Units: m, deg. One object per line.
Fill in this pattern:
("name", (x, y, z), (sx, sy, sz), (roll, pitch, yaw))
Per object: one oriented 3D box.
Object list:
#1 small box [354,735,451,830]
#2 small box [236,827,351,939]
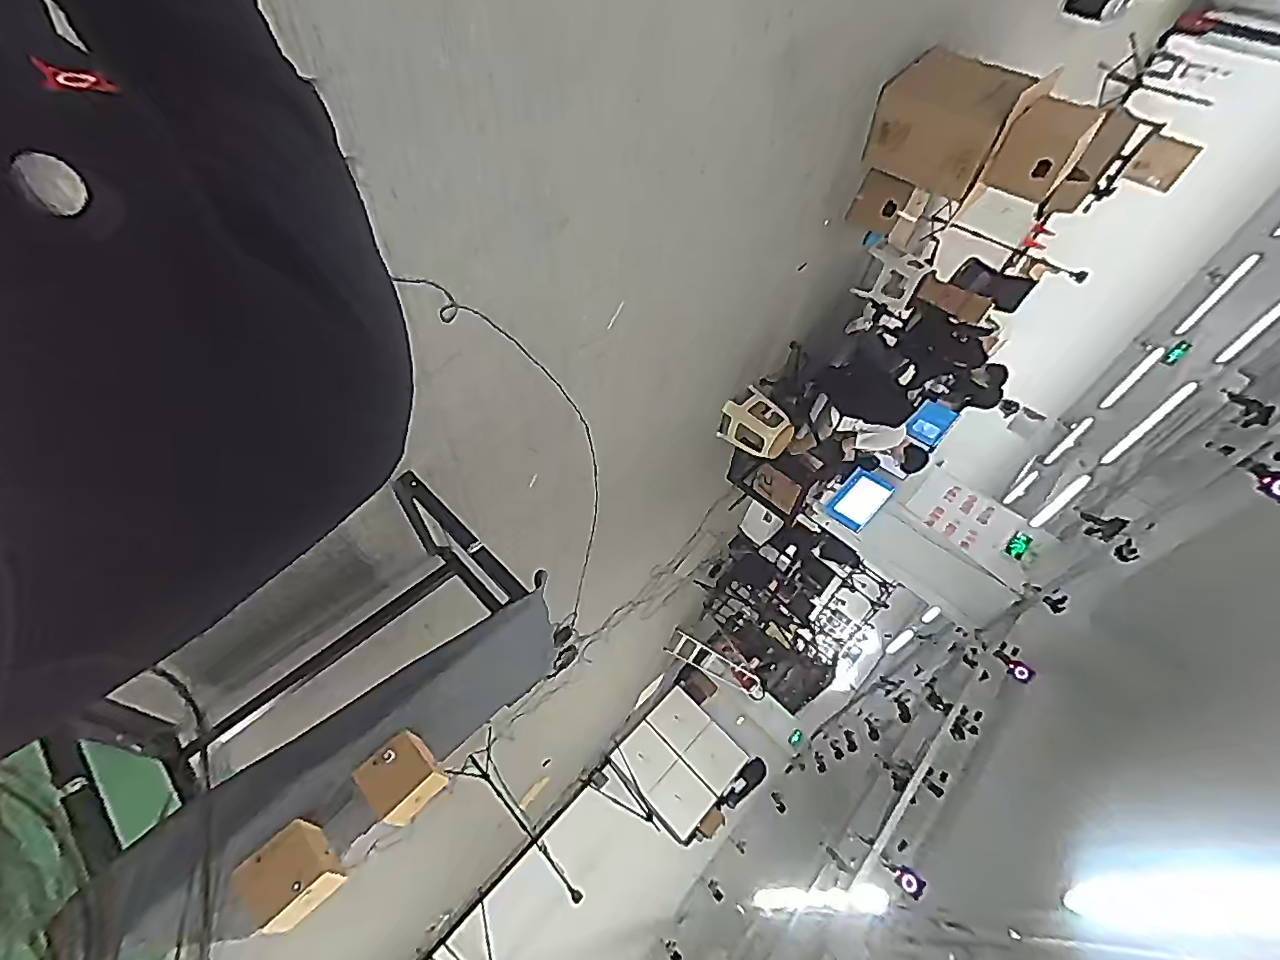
("small box", (-0.679, 0.866, 1.555), (0.168, 0.176, 0.179), (-41, 154, -26))
("small box", (-0.895, 1.040, 1.404), (0.168, 0.176, 0.179), (-38, 154, -31))
